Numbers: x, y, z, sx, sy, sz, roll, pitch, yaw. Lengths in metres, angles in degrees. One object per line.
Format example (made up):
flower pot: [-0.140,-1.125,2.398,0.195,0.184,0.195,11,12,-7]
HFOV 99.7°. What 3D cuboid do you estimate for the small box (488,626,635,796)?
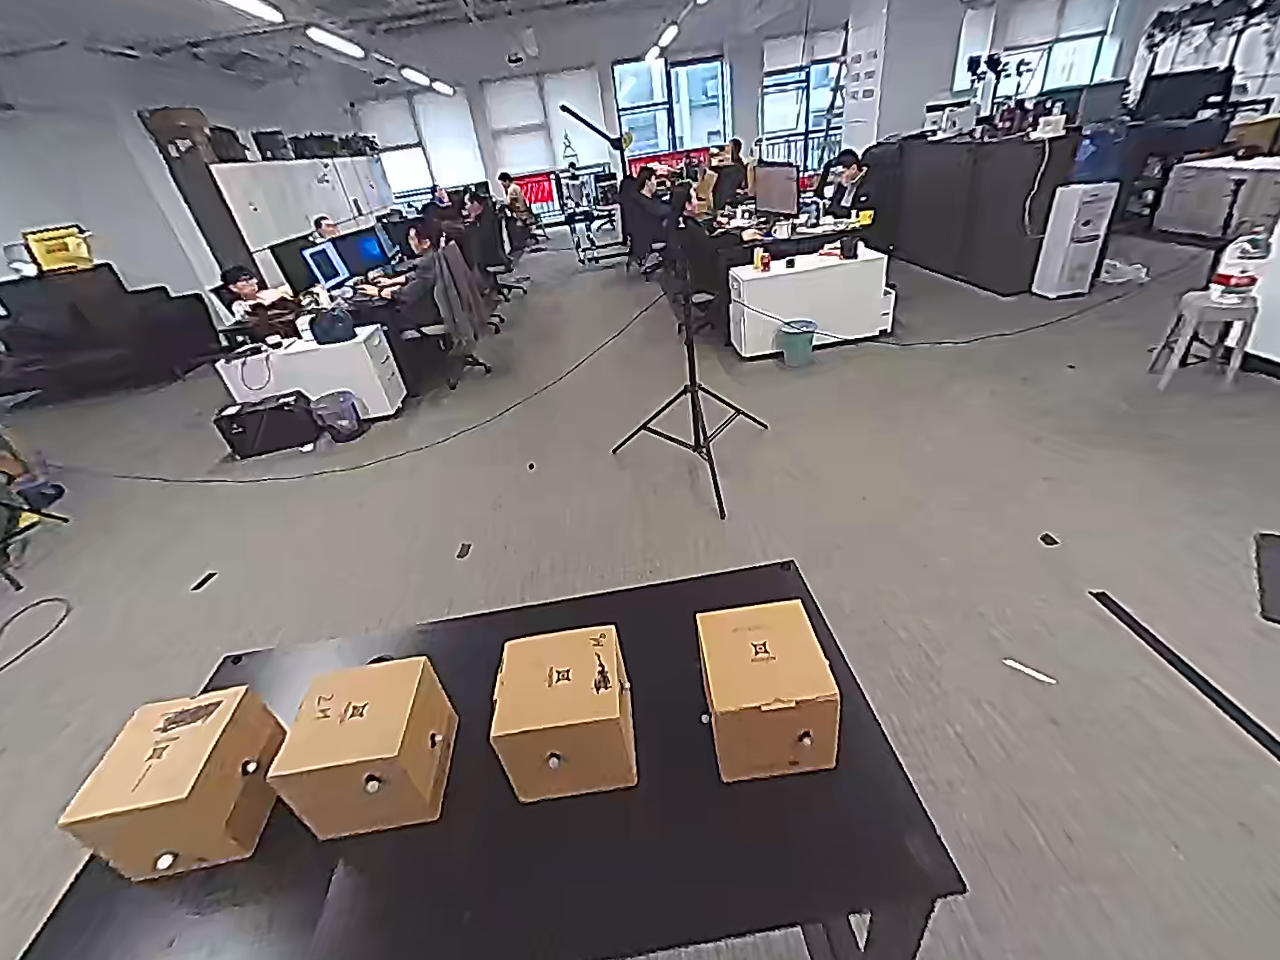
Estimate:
small box: [-0.111,0.353,0.825,0.179,0.176,0.168,-10,32,1]

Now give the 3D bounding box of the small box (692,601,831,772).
small box: [0.177,0.314,0.814,0.168,0.176,0.179,-8,31,1]

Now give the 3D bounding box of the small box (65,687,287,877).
small box: [-0.662,0.448,0.810,0.168,0.176,0.179,-11,33,-3]

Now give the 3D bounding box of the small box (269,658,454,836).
small box: [-0.400,0.401,0.817,0.179,0.176,0.168,-10,32,-2]
